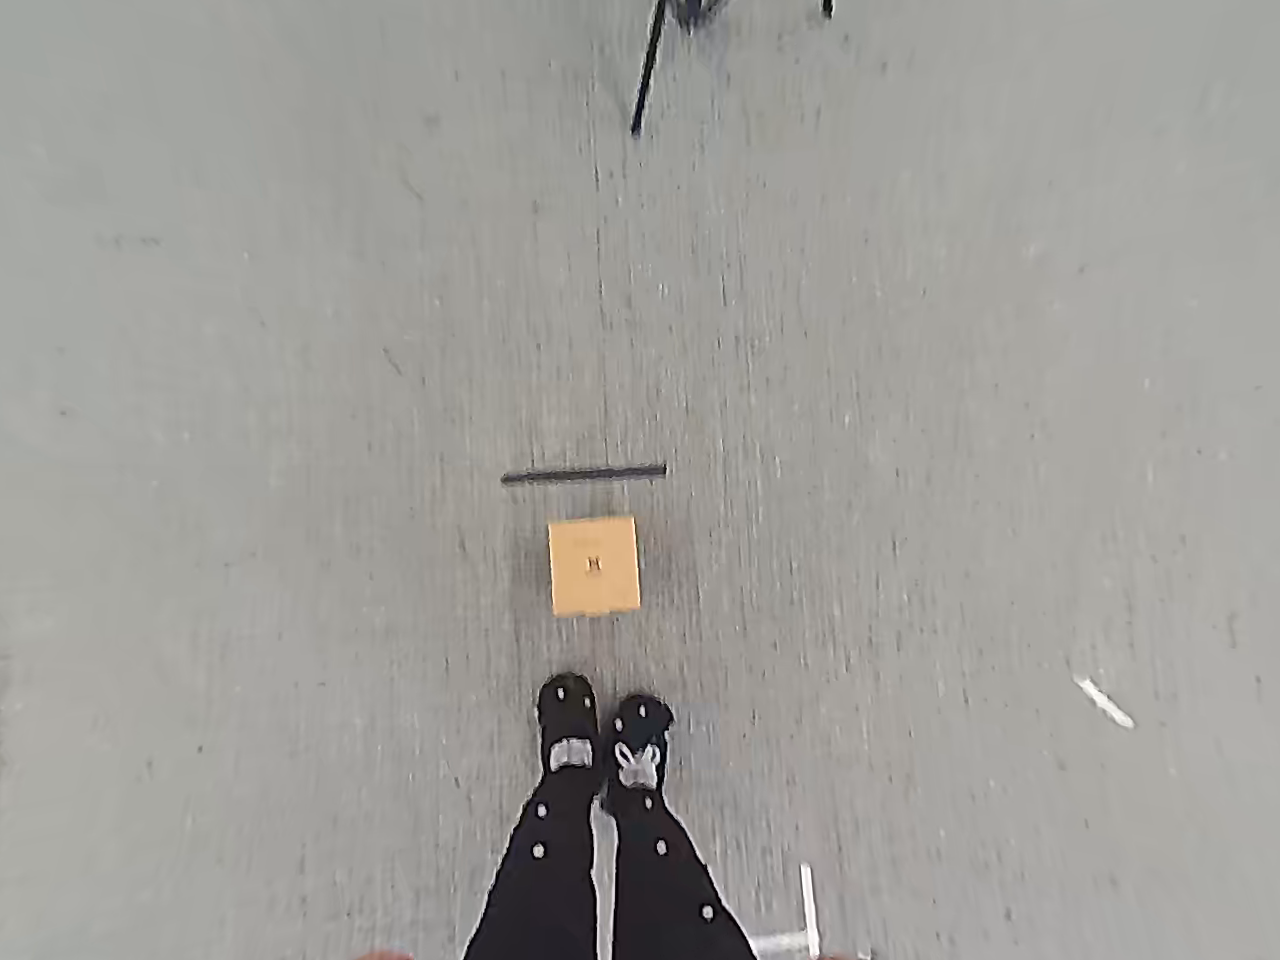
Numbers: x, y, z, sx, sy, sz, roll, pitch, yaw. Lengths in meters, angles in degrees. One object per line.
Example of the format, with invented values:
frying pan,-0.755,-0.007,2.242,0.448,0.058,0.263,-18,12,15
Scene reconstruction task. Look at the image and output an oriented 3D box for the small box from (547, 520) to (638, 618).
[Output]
small box,-0.094,0.176,1.103,0.168,0.176,0.179,-5,83,-4
